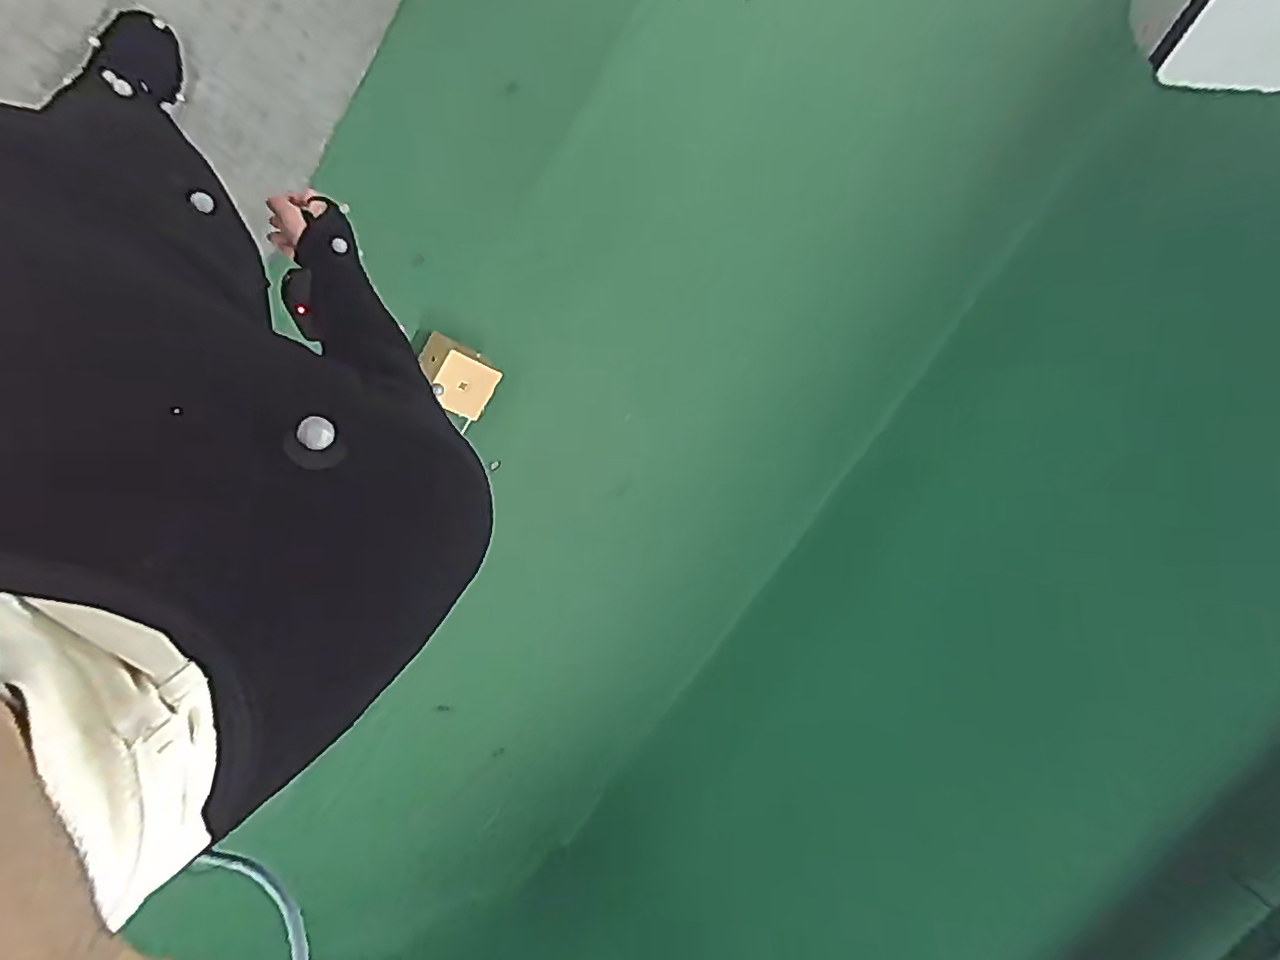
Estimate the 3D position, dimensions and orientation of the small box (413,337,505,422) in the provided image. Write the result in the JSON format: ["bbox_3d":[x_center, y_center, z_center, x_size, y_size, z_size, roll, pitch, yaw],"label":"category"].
[{"bbox_3d":[-0.538,-0.299,1.588,0.179,0.176,0.168,22,105,-47],"label":"small box"}]
